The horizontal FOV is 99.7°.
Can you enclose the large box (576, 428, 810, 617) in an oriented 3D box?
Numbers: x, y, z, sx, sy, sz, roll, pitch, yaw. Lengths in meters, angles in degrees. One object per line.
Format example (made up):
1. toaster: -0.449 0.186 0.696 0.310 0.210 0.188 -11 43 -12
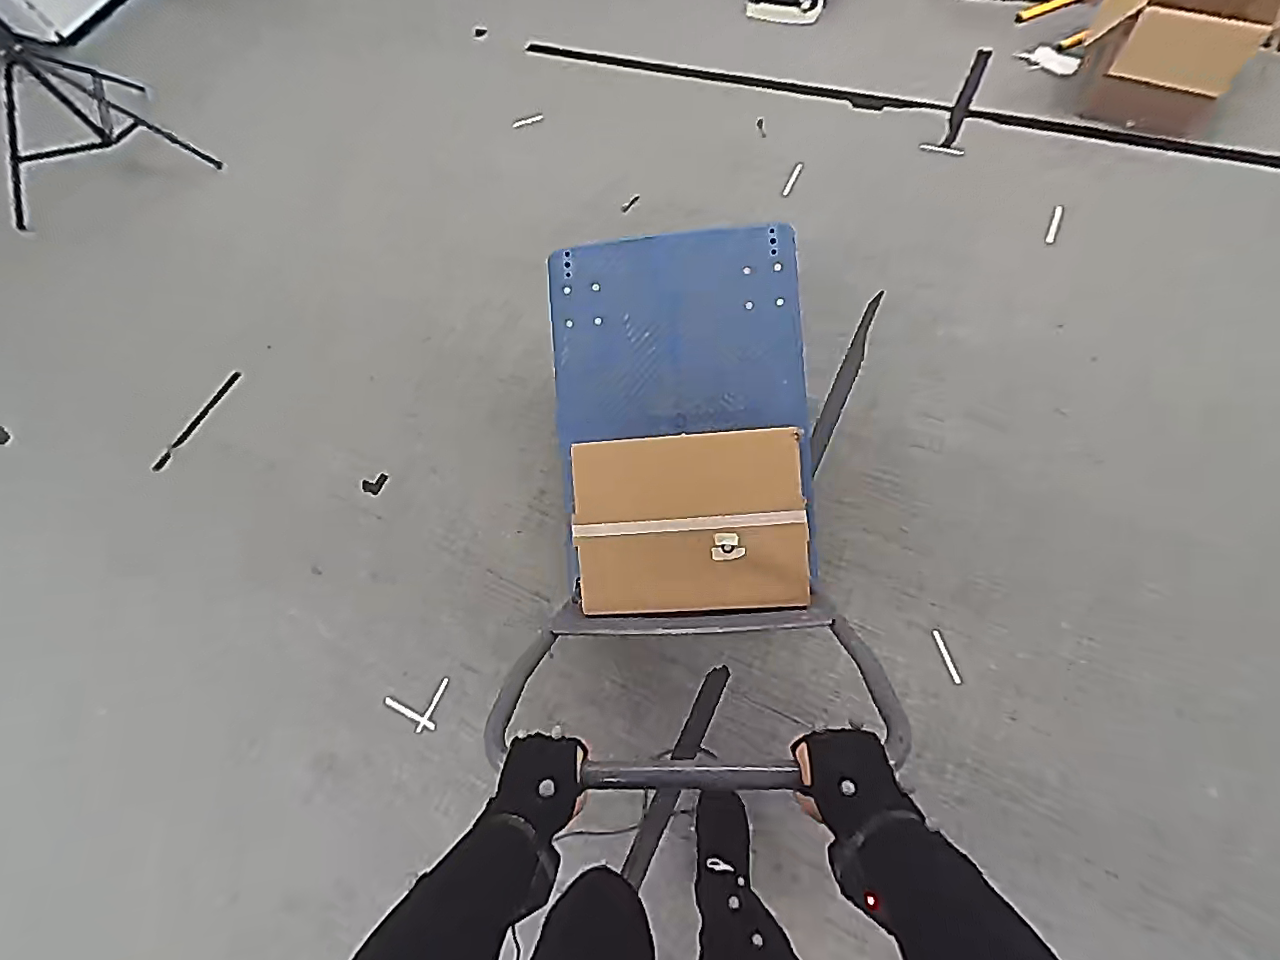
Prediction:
1. large box: 0.104 0.082 1.123 0.408 0.320 0.320 -5 90 5
